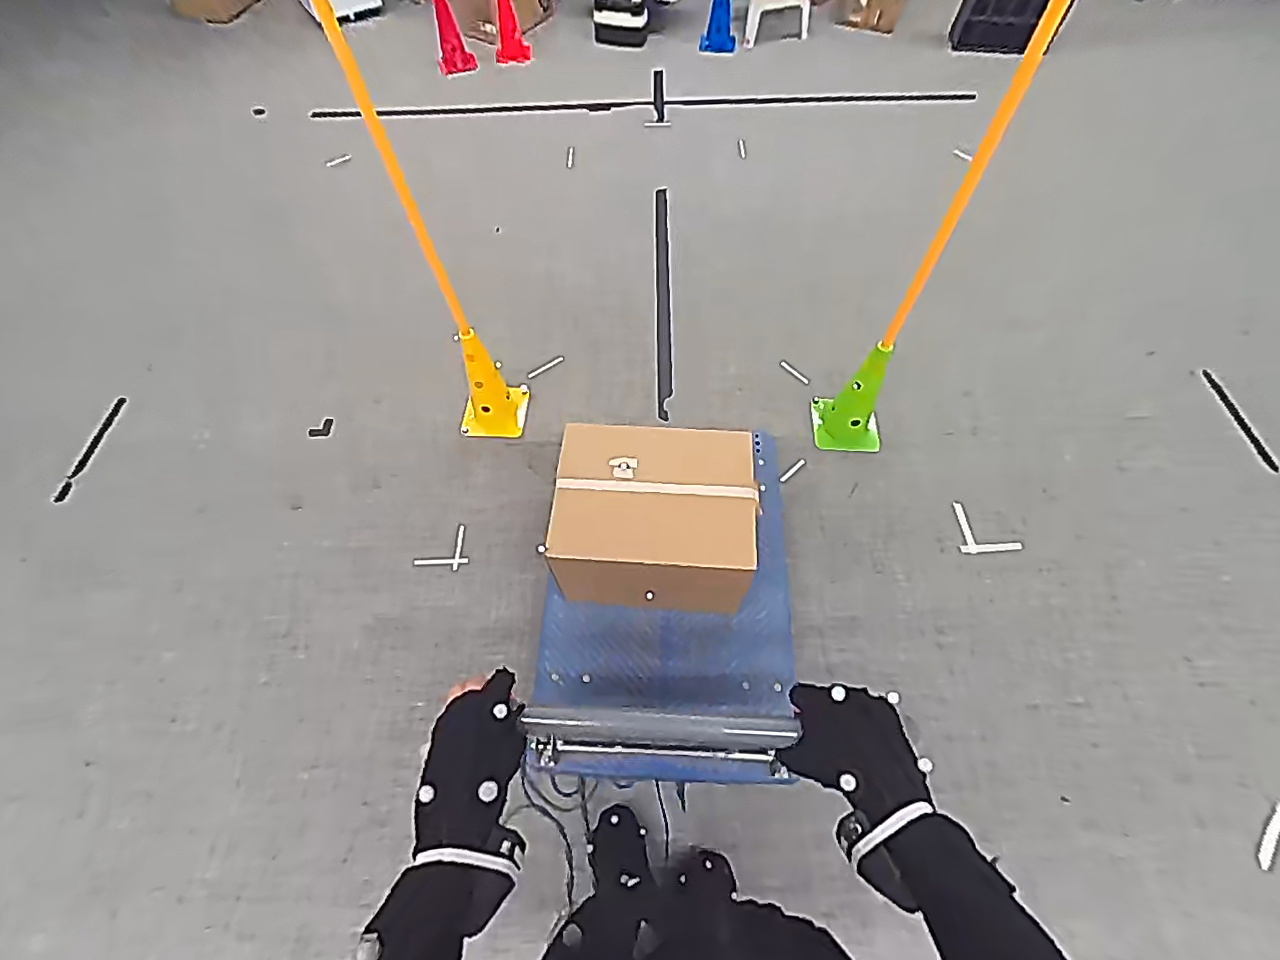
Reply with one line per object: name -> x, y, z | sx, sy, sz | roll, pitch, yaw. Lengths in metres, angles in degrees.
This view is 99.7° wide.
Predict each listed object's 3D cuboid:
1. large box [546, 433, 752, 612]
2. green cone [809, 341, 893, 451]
large box -> 0.031, 0.106, 1.235 | 0.408, 0.320, 0.320 | 2, 60, 4
green cone -> 0.653, -0.265, 1.599 | 0.202, 0.368, 0.200 | 3, 60, 2
